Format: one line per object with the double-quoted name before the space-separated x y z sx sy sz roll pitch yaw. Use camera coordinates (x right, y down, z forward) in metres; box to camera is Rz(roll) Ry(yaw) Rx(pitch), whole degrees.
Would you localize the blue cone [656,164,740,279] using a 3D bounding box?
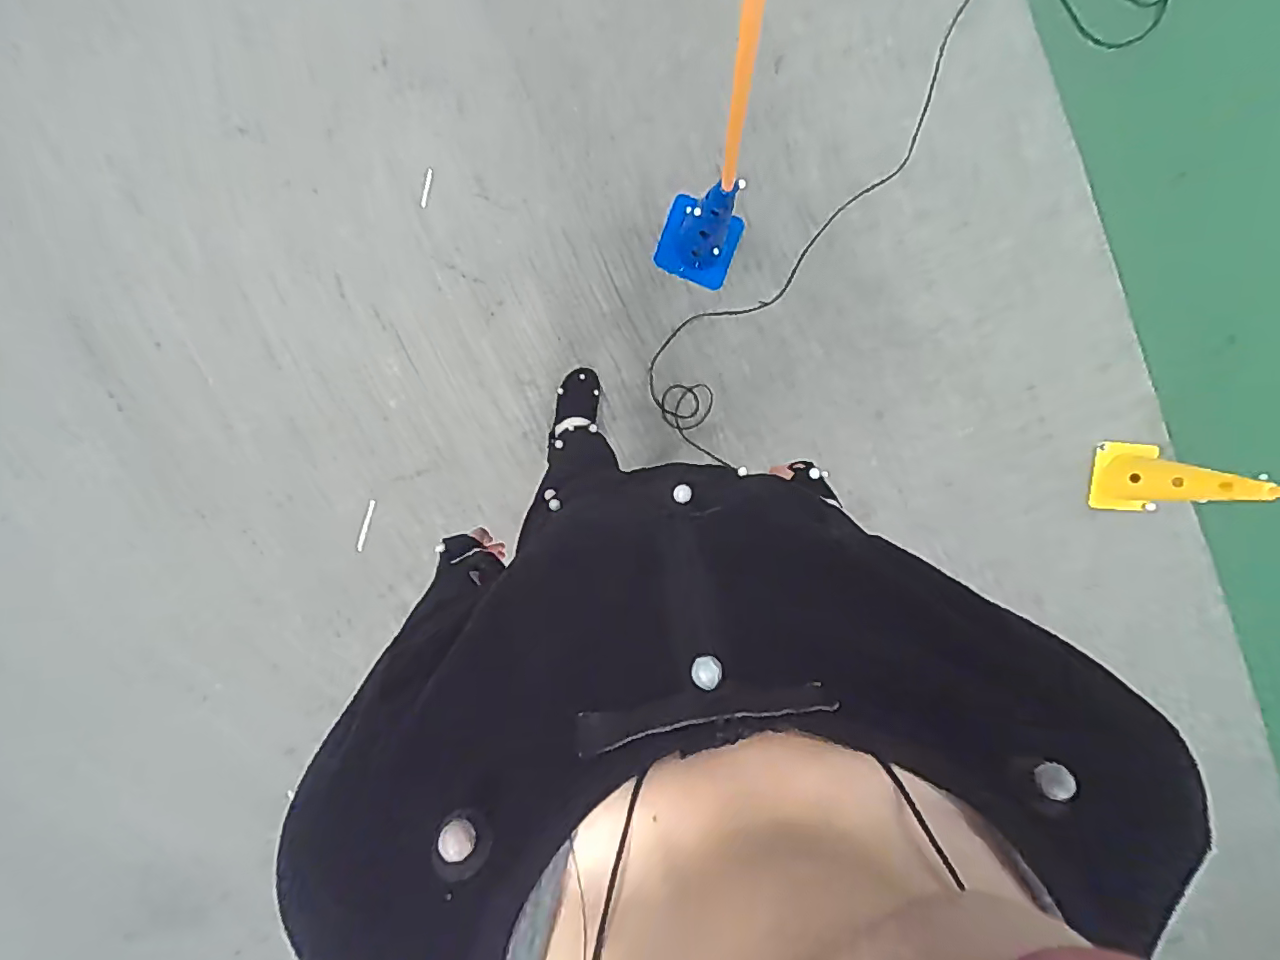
"blue cone" 0.159 -0.616 1.250 0.193 0.380 0.192 19 95 -5
